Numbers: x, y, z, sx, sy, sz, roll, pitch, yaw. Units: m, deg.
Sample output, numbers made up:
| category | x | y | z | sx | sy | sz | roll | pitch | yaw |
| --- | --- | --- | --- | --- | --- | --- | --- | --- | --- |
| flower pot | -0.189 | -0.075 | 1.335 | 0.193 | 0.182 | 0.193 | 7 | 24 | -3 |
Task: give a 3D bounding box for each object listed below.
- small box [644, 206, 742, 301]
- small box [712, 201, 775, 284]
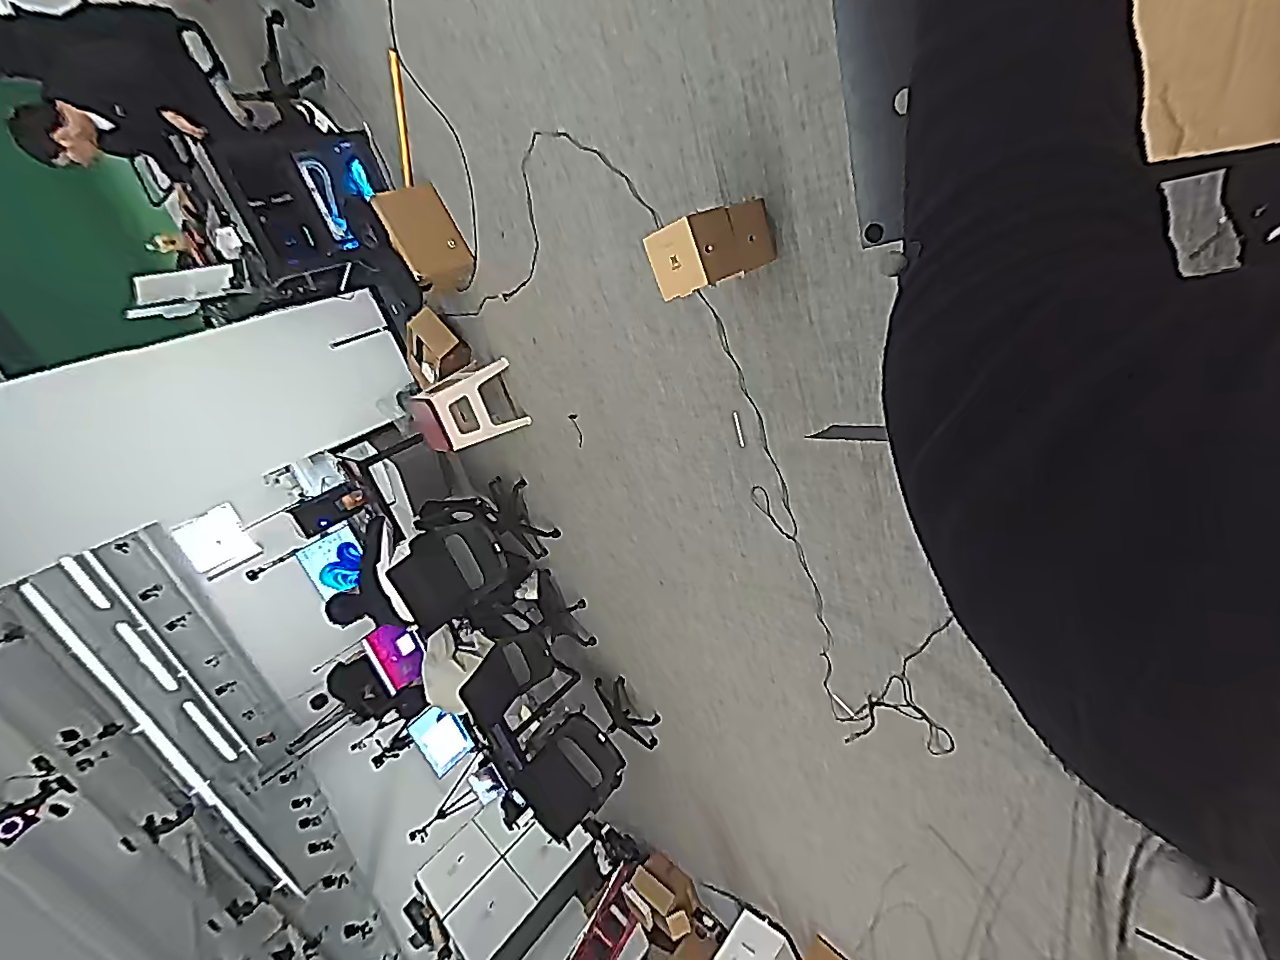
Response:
| category | x | y | z | sx | sy | sz | roll | pitch | yaw |
| --- | --- | --- | --- | --- | --- | --- | --- | --- | --- |
| small box | 0.147 | -0.607 | 1.450 | 0.168 | 0.176 | 0.179 | -2 | 115 | 49 |
| small box | 0.260 | -0.678 | 1.544 | 0.168 | 0.176 | 0.179 | 3 | 121 | 49 |
